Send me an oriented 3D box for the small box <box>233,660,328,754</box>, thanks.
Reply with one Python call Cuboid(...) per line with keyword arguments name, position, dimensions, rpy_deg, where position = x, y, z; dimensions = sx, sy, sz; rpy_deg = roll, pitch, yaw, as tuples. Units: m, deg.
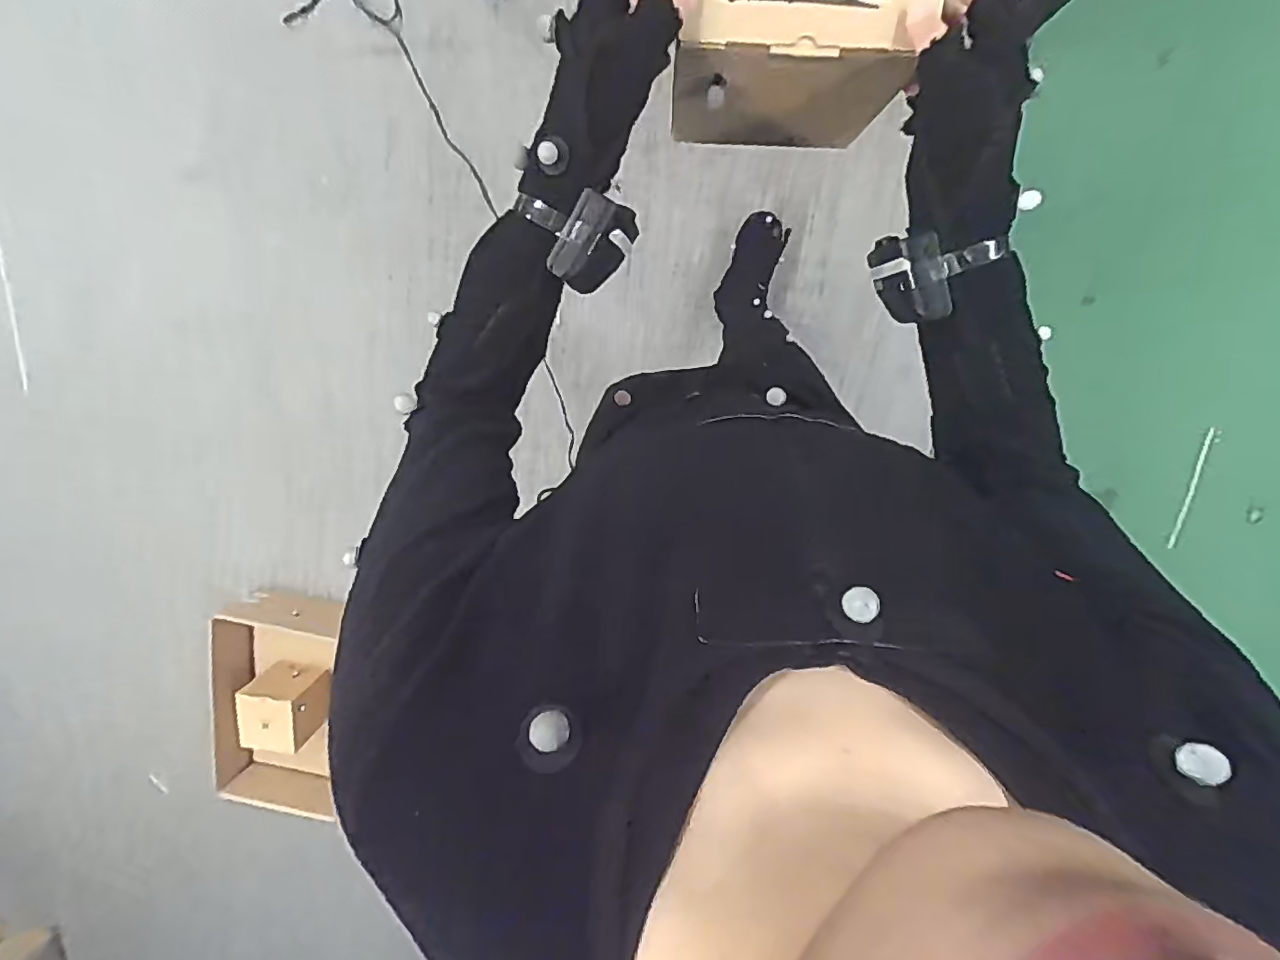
Cuboid(name="small box", position=(-1.037, 0.656, 1.574), dimensions=(0.168, 0.176, 0.179), rpy_deg=(7, 104, 3))
